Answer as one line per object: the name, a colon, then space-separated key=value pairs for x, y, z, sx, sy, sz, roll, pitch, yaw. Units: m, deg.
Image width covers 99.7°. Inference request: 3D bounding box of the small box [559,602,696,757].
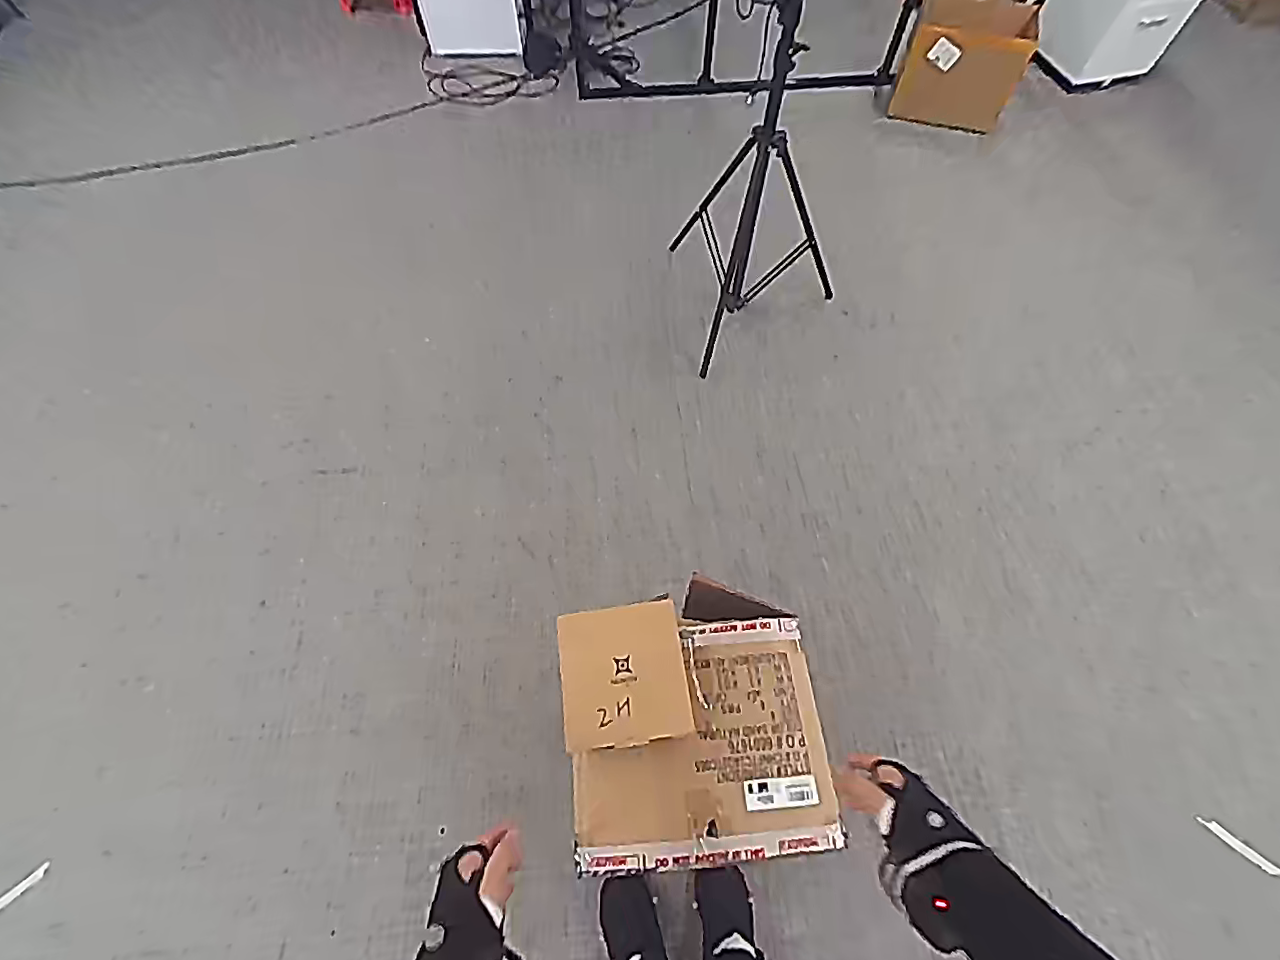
small box: x=-0.019 y=0.291 z=0.781 sx=0.168 sy=0.176 sz=0.179 roll=-9 pitch=66 yaw=-2
